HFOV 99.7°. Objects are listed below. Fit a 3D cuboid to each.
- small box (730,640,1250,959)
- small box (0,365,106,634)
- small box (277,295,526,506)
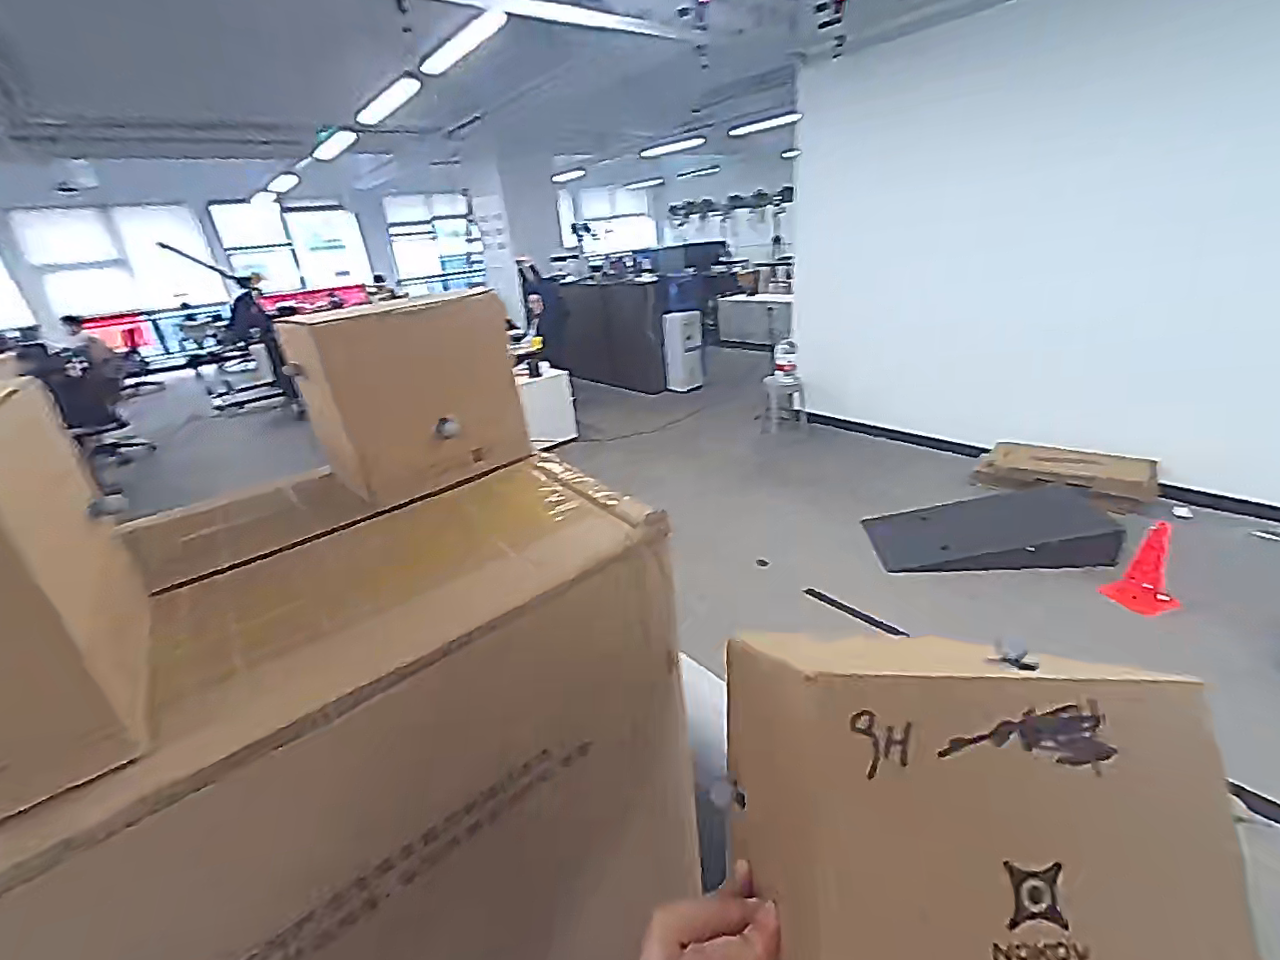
[{"bbox_3d":[0.144,0.185,0.283,0.168,0.179,0.176,2,-12,-1],"label":"small box"},{"bbox_3d":[-0.520,0.022,0.377,0.179,0.176,0.168,16,31,42],"label":"small box"},{"bbox_3d":[-0.241,-0.089,0.558,0.168,0.176,0.179,-26,29,-34],"label":"small box"}]
